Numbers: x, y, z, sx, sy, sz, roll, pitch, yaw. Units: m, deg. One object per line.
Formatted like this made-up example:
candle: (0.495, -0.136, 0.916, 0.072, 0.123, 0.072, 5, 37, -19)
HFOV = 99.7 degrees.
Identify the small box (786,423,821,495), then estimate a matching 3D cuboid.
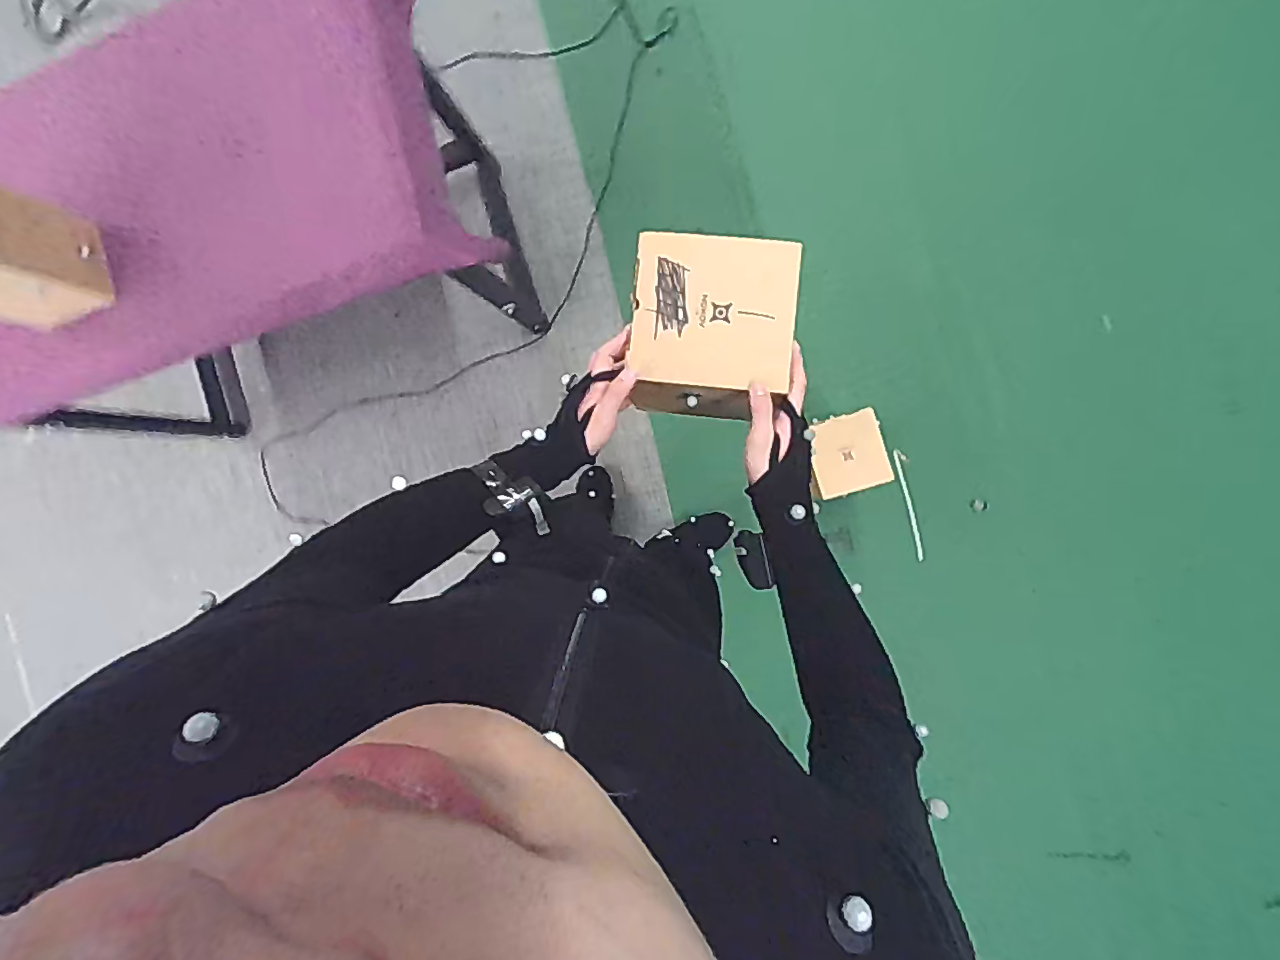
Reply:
small box: (0.503, -0.065, 1.469, 0.168, 0.176, 0.179, -14, 88, 9)

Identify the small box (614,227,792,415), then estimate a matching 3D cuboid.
small box: (0.072, -0.178, 0.650, 0.179, 0.176, 0.168, 5, 86, 4)

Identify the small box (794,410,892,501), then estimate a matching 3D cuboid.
small box: (0.482, -0.056, 1.308, 0.168, 0.176, 0.179, -17, 87, 9)
